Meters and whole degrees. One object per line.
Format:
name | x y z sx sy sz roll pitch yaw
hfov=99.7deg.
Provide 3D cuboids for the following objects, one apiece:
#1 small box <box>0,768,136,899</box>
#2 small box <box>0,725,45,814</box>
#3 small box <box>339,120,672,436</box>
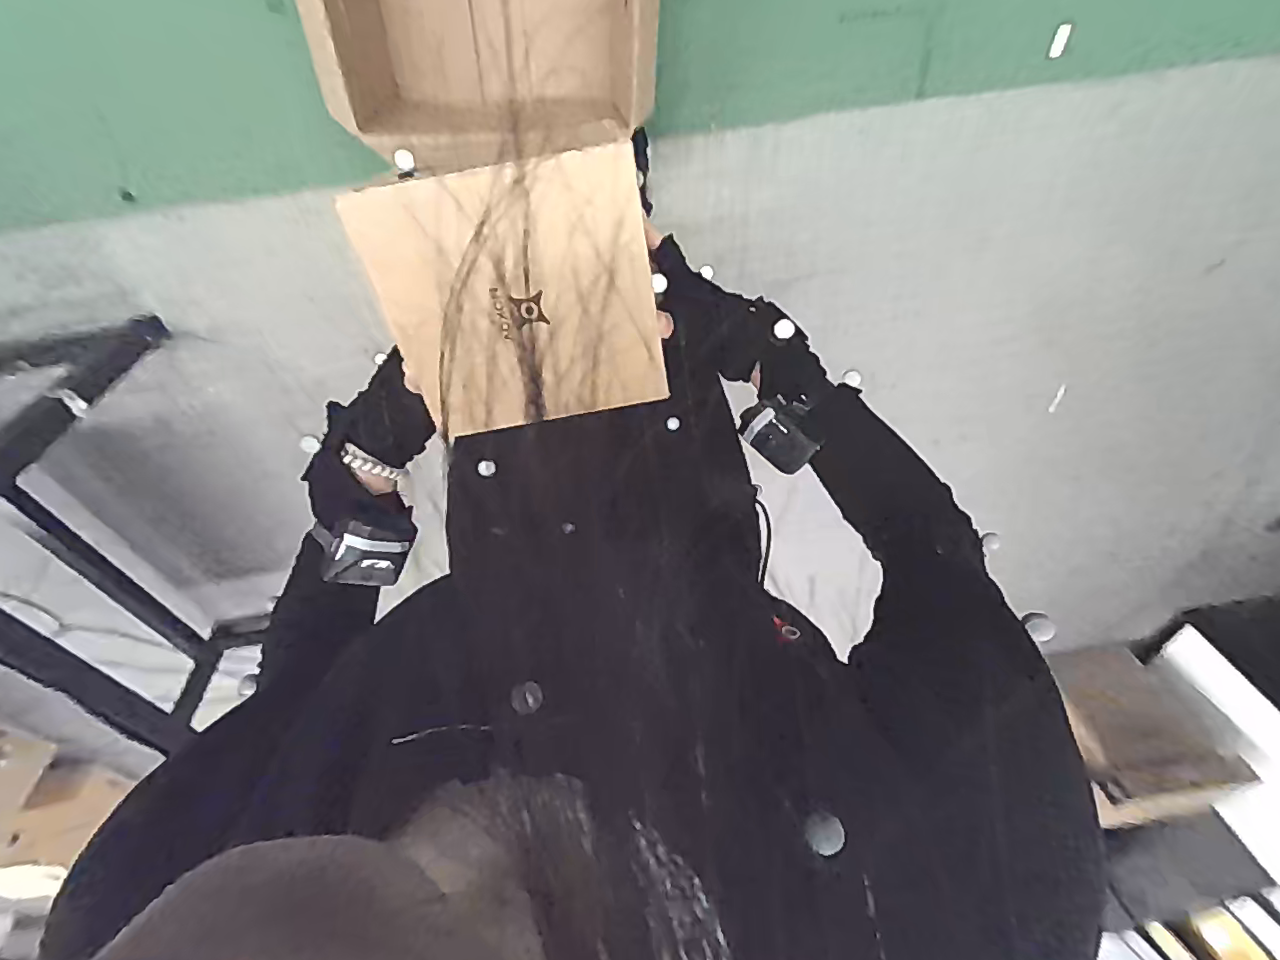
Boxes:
small box | -1.129 0.671 1.033 0.179 0.176 0.168 -7 133 -2
small box | -1.151 0.496 0.866 0.179 0.176 0.168 -9 134 -2
small box | -0.080 -0.158 0.409 0.179 0.176 0.168 -9 128 2
